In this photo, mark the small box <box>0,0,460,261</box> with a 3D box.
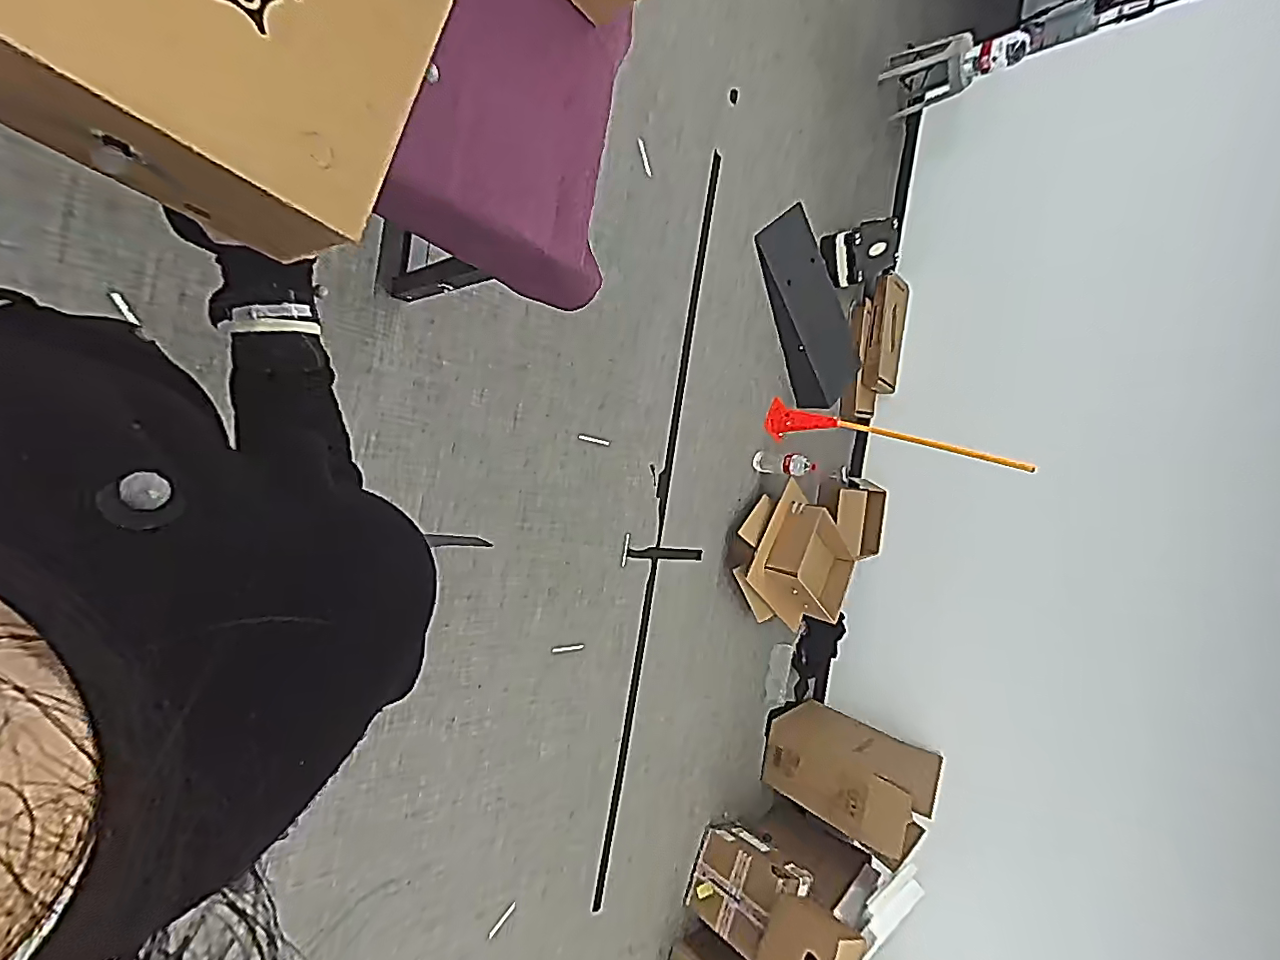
[{"bbox_3d":[-0.246,-0.257,0.328,0.168,0.176,0.179,23,83,-47],"label":"small box"}]

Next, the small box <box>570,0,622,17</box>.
[{"bbox_3d":[-0.066,-0.874,0.828,0.179,0.176,0.168,11,90,-48],"label":"small box"}]
